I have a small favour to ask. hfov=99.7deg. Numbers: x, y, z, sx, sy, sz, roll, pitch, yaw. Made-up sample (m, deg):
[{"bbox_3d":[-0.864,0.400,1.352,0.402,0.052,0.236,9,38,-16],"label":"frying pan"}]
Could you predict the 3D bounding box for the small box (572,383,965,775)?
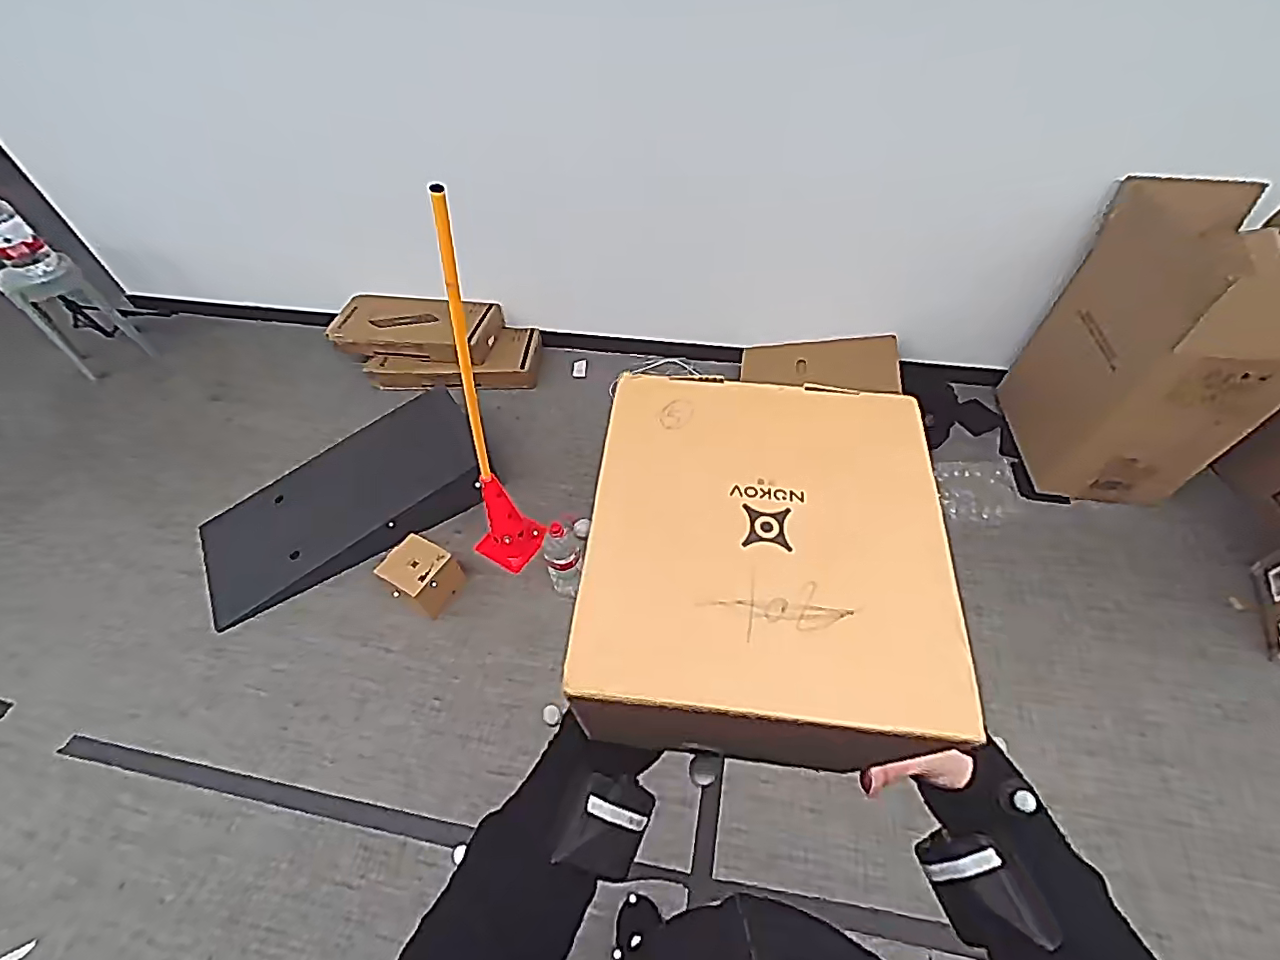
[{"bbox_3d":[0.061,0.068,0.333,0.168,0.176,0.179,6,58,4],"label":"small box"}]
